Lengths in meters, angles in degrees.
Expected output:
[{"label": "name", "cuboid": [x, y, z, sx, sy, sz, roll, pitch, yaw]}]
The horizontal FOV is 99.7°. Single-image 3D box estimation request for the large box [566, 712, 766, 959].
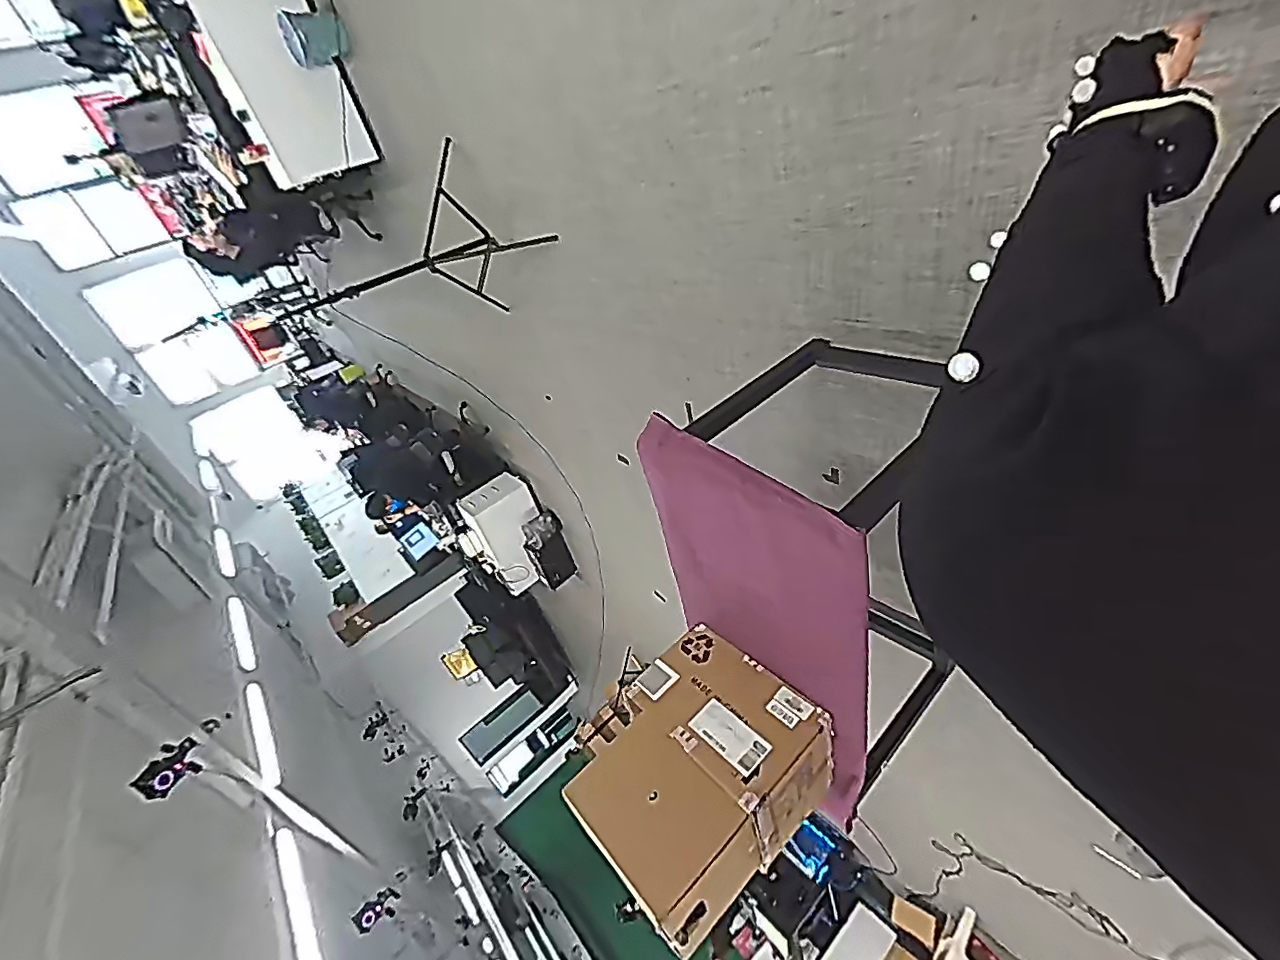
[{"label": "large box", "cuboid": [0.071, 0.918, 1.443, 0.408, 0.320, 0.320, 25, 144, 45]}]
